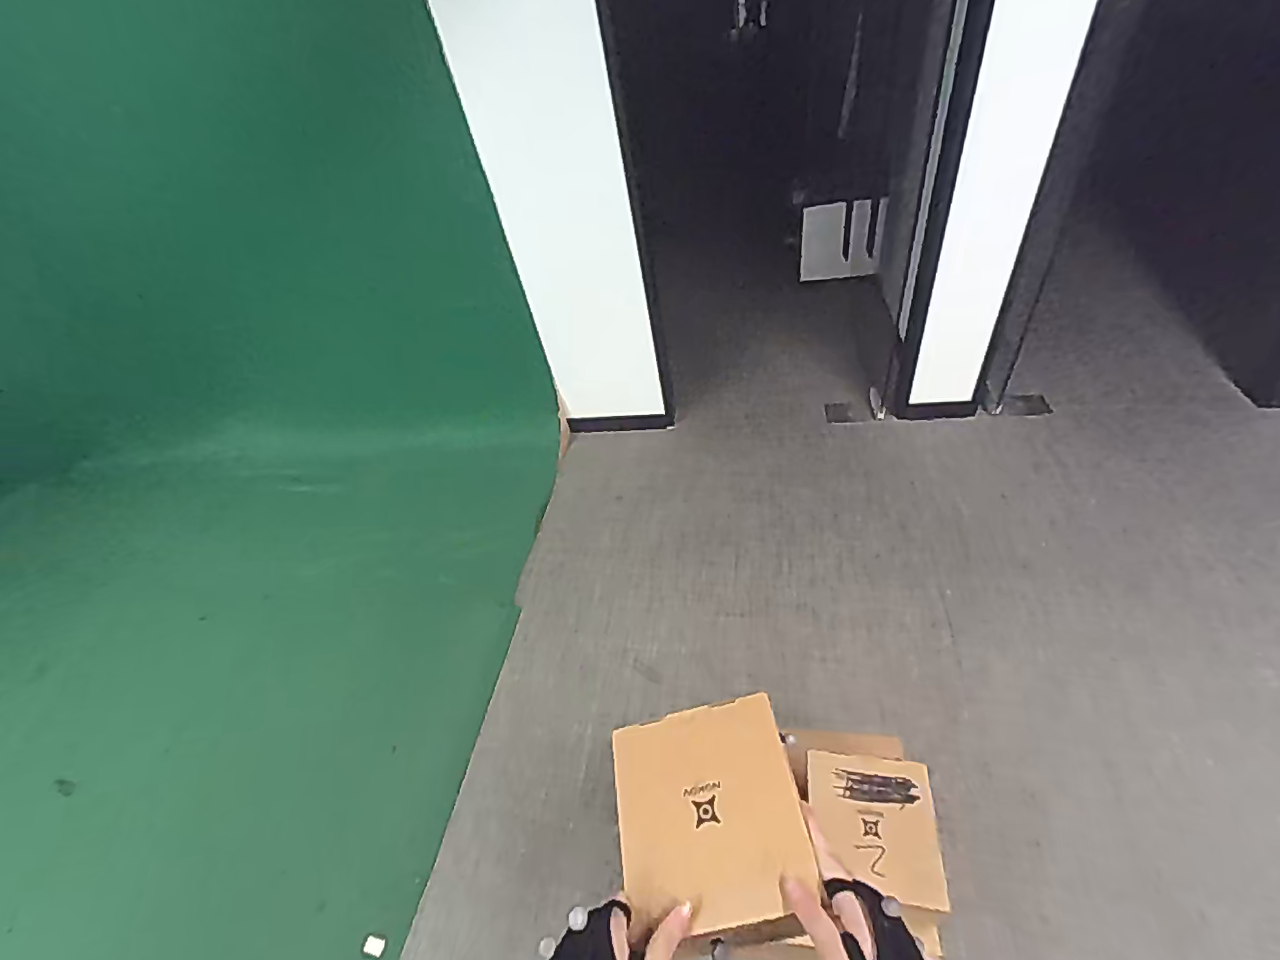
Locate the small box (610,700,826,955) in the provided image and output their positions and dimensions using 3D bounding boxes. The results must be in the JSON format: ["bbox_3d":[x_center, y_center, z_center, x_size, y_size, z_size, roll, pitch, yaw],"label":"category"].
[{"bbox_3d":[0.079,0.358,0.551,0.168,0.176,0.179,-17,43,7],"label":"small box"}]
